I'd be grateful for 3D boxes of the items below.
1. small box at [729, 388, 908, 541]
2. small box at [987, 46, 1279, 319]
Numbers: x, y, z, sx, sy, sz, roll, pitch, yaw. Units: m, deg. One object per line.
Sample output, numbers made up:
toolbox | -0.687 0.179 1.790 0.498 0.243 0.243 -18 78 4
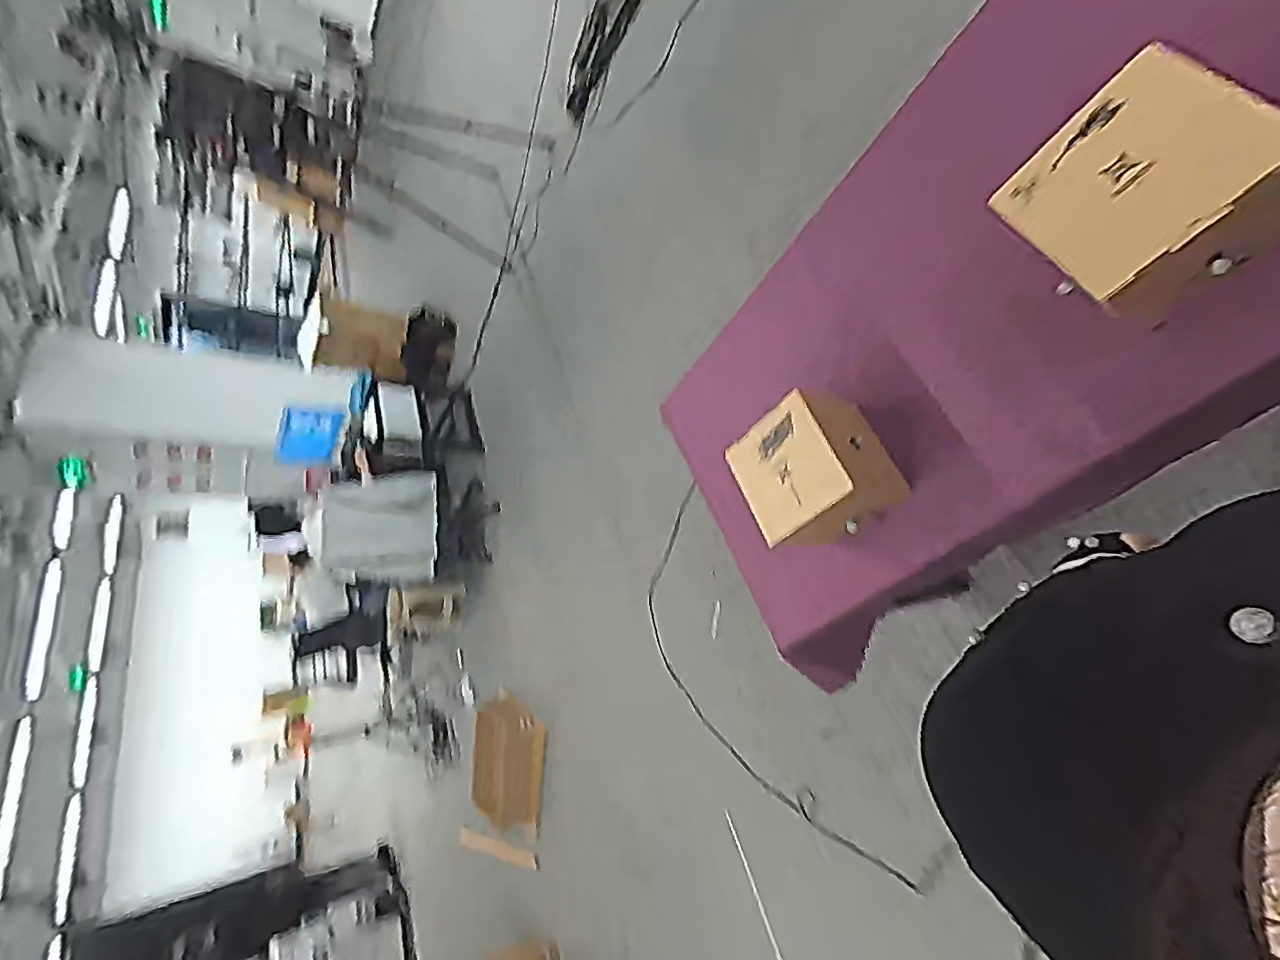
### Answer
small box | 0.279 -0.018 0.857 0.168 0.176 0.179 -46 55 39
small box | 0.523 -0.291 0.568 0.168 0.176 0.179 -47 55 38
